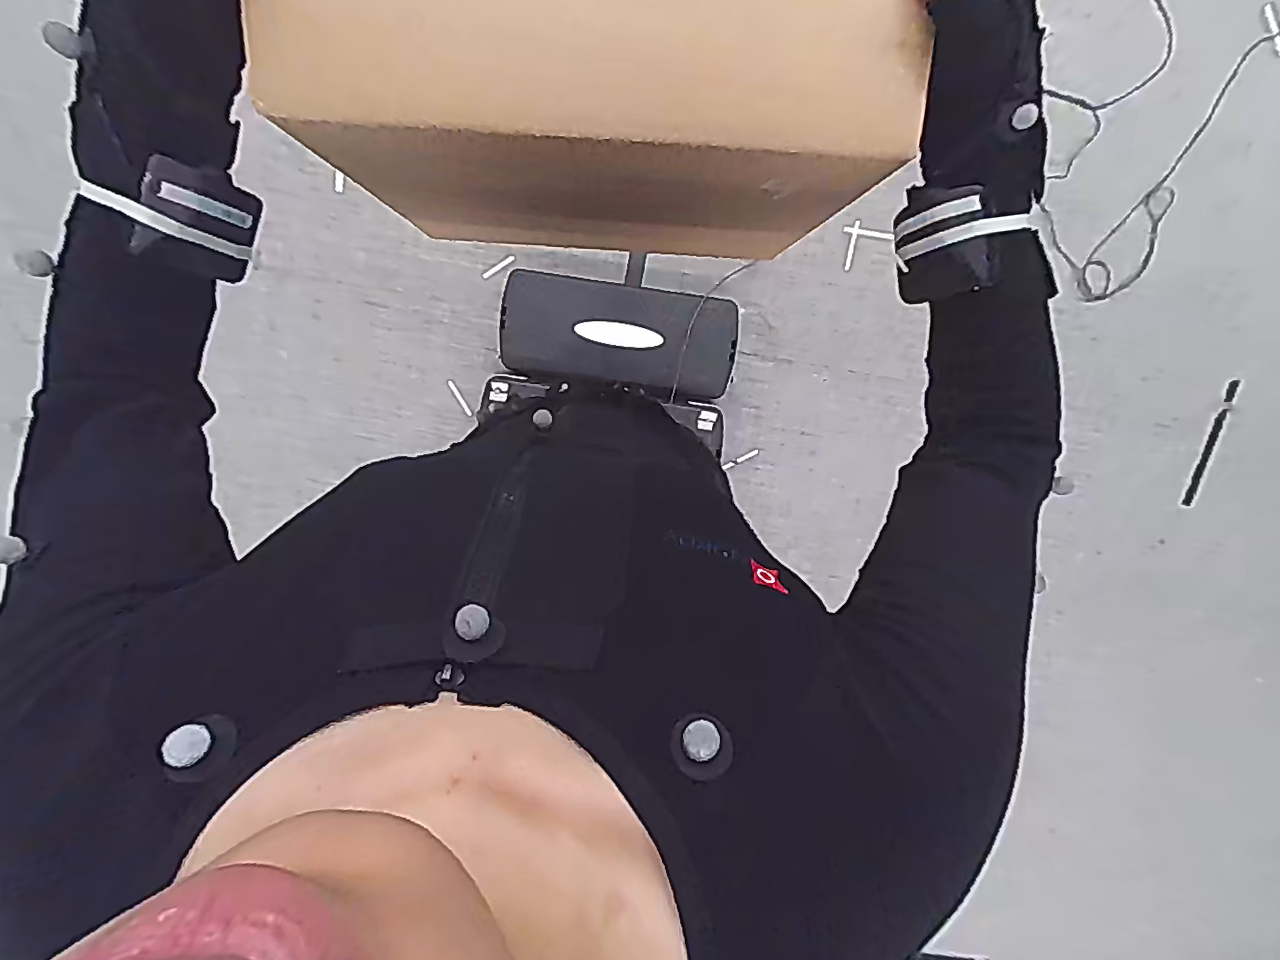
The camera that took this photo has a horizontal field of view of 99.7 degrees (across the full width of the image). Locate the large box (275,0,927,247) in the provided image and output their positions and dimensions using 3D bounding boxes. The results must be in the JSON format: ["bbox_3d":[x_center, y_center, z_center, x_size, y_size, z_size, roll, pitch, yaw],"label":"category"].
[{"bbox_3d":[-0.025,-0.399,0.459,0.408,0.320,0.320,1,102,-4],"label":"large box"}]

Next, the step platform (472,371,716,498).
[{"bbox_3d":[-0.127,-0.130,1.557,0.684,0.204,0.286,7,100,-1],"label":"step platform"}]
